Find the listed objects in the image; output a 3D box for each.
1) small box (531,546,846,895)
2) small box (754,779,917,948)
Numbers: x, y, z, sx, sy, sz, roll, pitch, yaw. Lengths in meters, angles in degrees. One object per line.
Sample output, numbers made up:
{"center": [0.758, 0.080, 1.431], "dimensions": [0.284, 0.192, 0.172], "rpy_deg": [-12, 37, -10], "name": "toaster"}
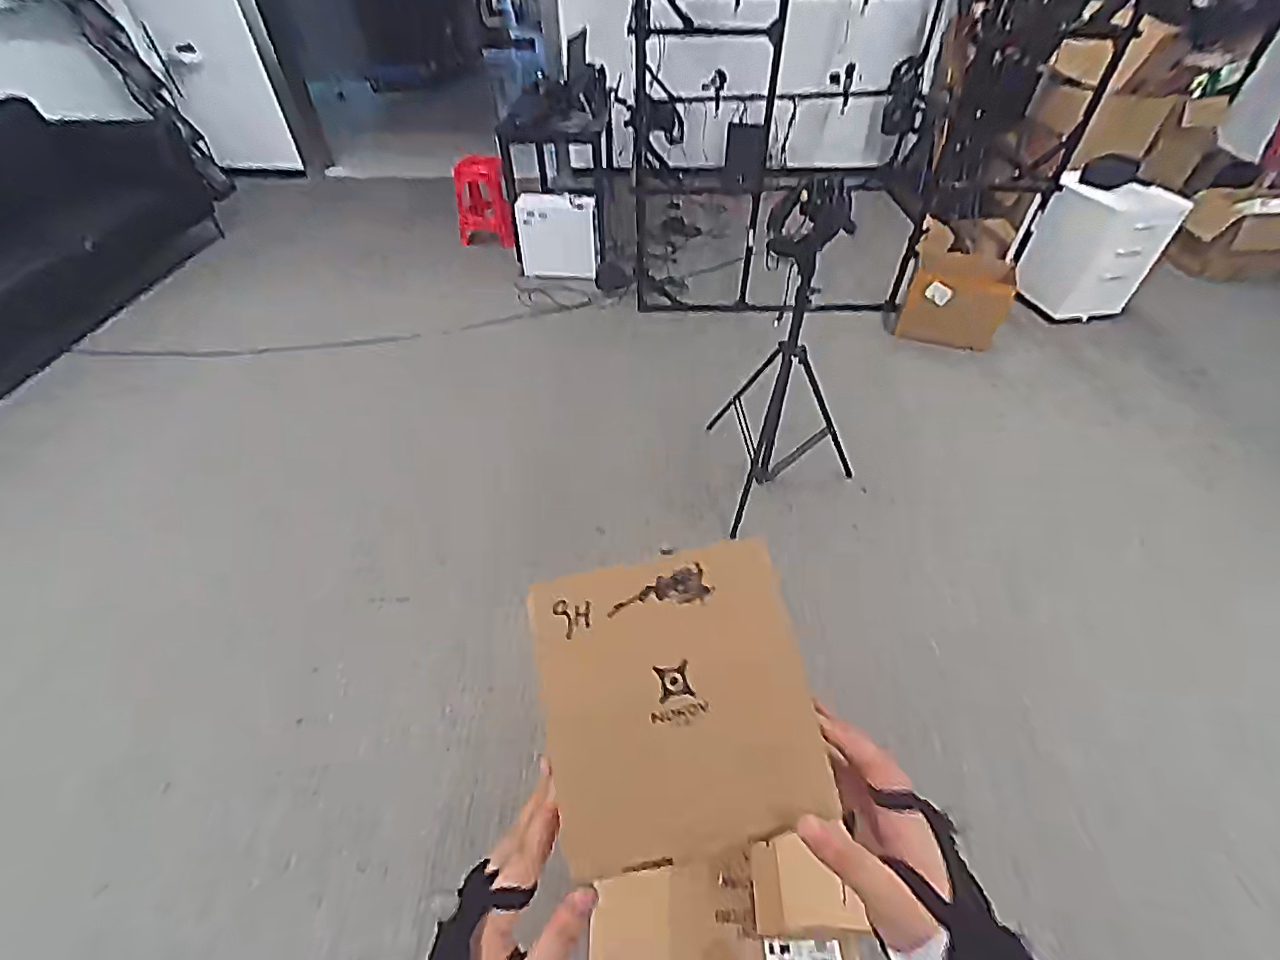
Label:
{"center": [0.026, 0.160, 0.408], "dimensions": [0.168, 0.176, 0.179], "rpy_deg": [-12, 75, -3], "name": "small box"}
{"center": [0.258, 0.546, 0.774], "dimensions": [0.168, 0.176, 0.179], "rpy_deg": [3, 47, 0], "name": "small box"}
